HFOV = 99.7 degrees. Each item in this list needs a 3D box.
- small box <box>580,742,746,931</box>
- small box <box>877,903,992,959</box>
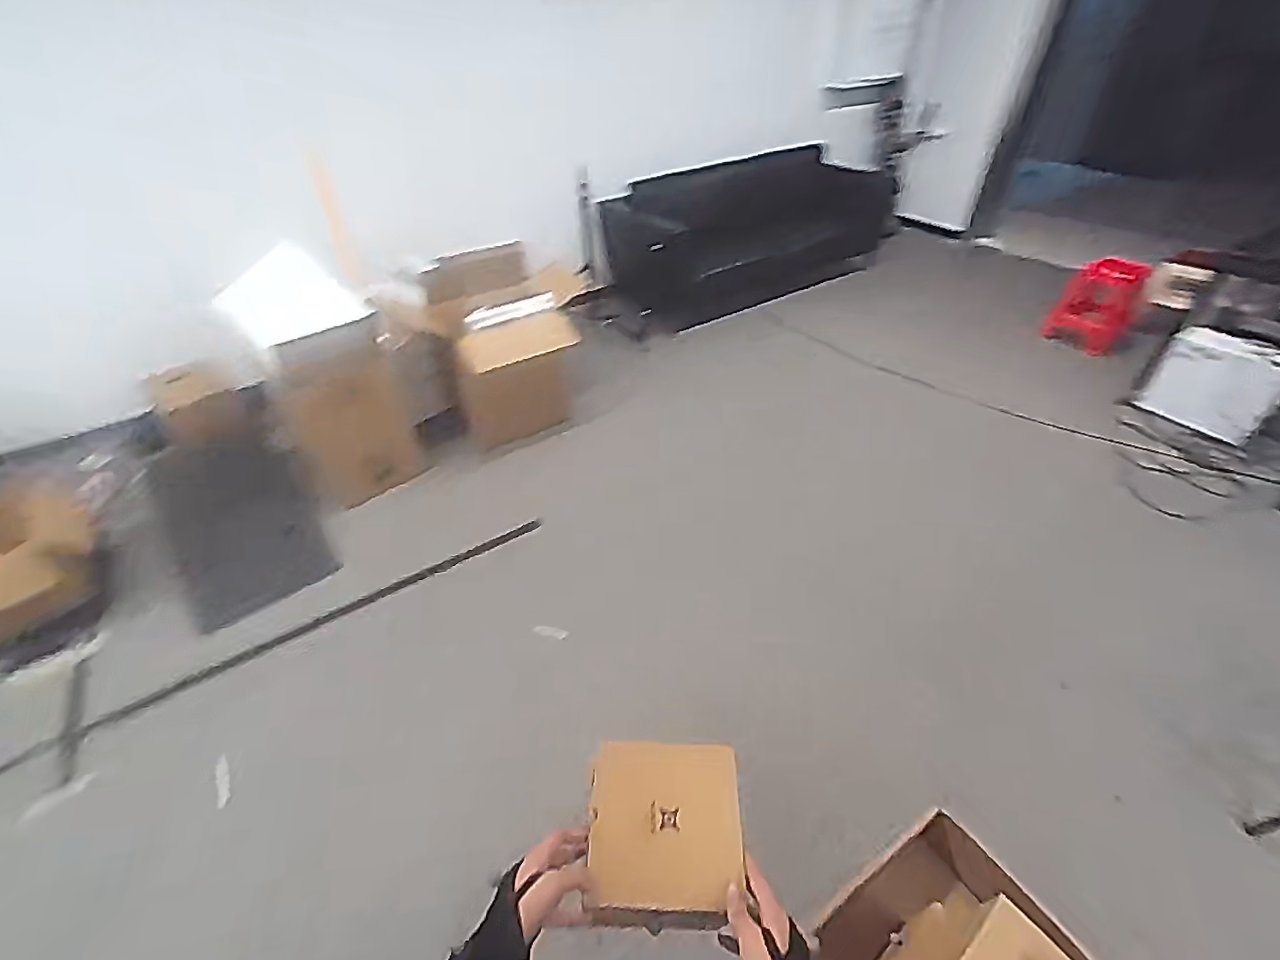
[{"bbox_3d":[0.022,0.443,0.670,0.179,0.176,0.168,2,45,-1],"label":"small box"},{"bbox_3d":[0.454,0.809,0.827,0.179,0.176,0.168,-27,47,-27],"label":"small box"}]
